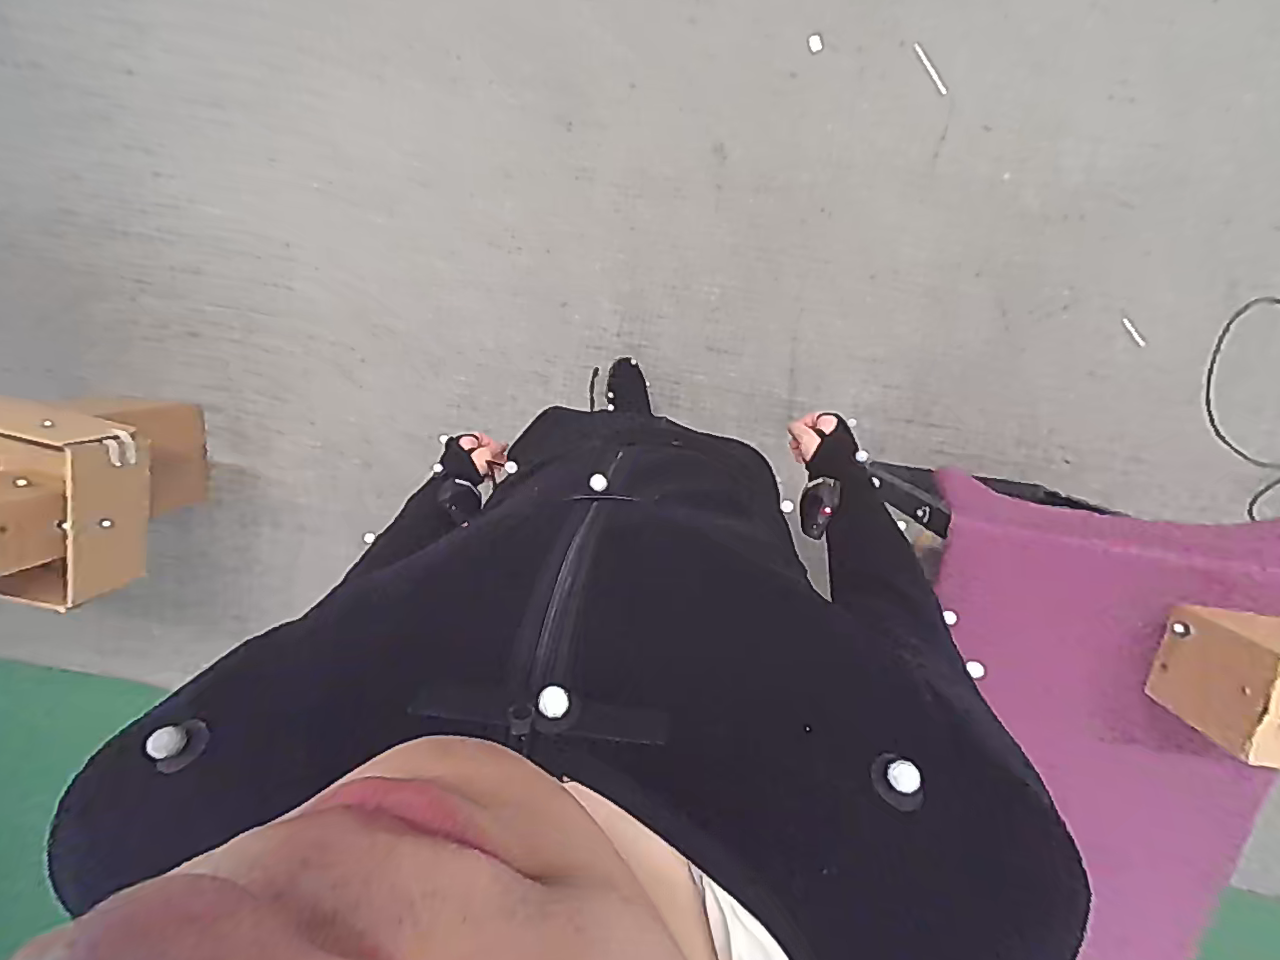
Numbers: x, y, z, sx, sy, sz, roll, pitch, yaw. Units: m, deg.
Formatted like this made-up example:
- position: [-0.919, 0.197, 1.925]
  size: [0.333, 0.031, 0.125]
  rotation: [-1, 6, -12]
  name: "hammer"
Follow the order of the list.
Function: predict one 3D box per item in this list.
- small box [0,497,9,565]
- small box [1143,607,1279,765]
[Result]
- position: [-1.402, 0.108, 1.053]
  size: [0.179, 0.176, 0.168]
  rotation: [14, 101, 1]
  name: "small box"
- position: [0.931, 0.307, 0.816]
  size: [0.179, 0.176, 0.168]
  rotation: [7, 102, 1]
  name: "small box"
